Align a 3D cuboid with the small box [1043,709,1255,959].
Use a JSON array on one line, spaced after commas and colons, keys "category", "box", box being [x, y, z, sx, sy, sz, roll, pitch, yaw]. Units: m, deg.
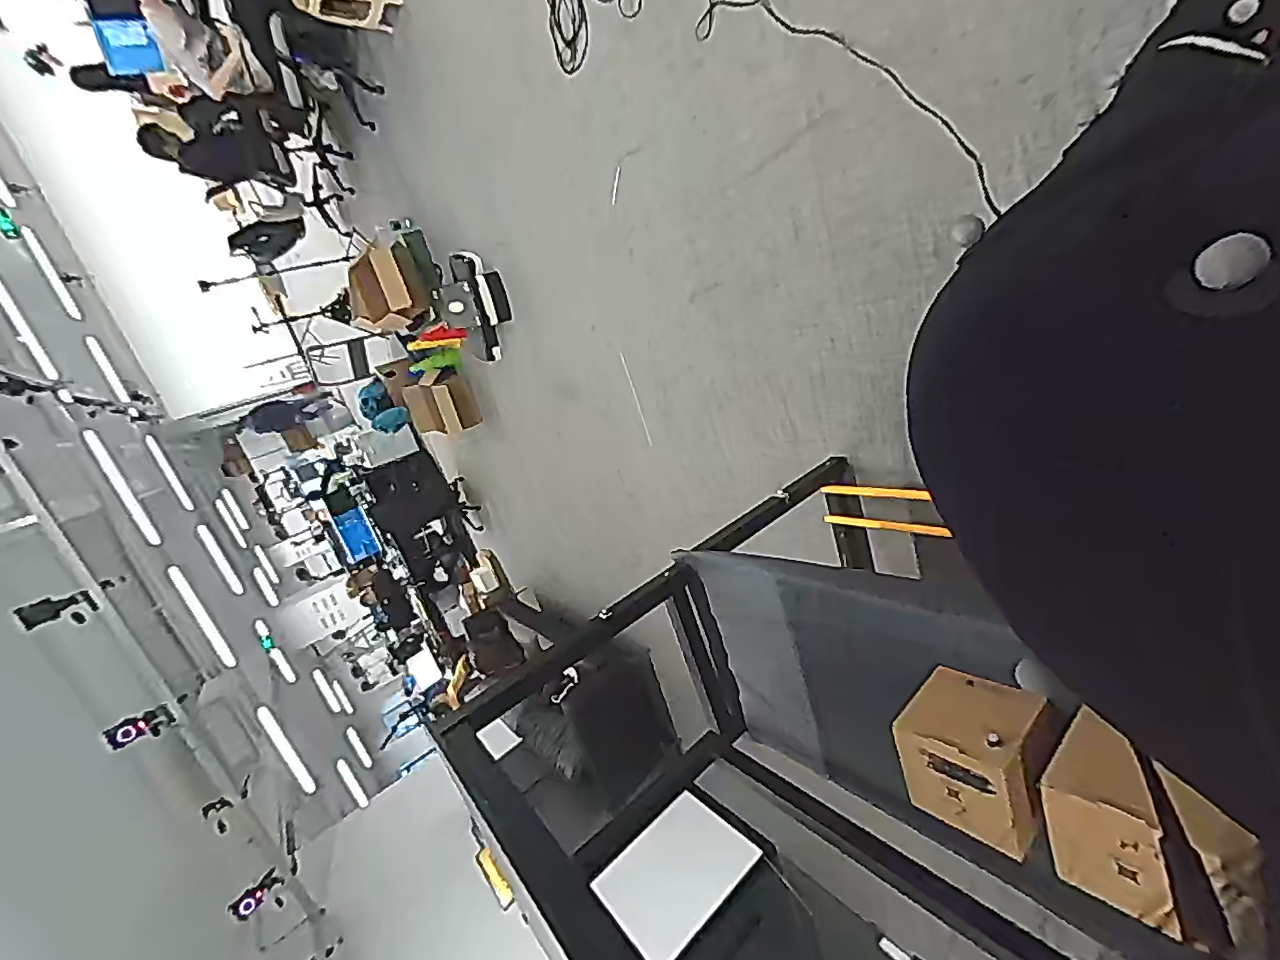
[{"category": "small box", "box": [0.659, 0.441, 0.700, 0.168, 0.176, 0.179, 2, 115, 55]}]
